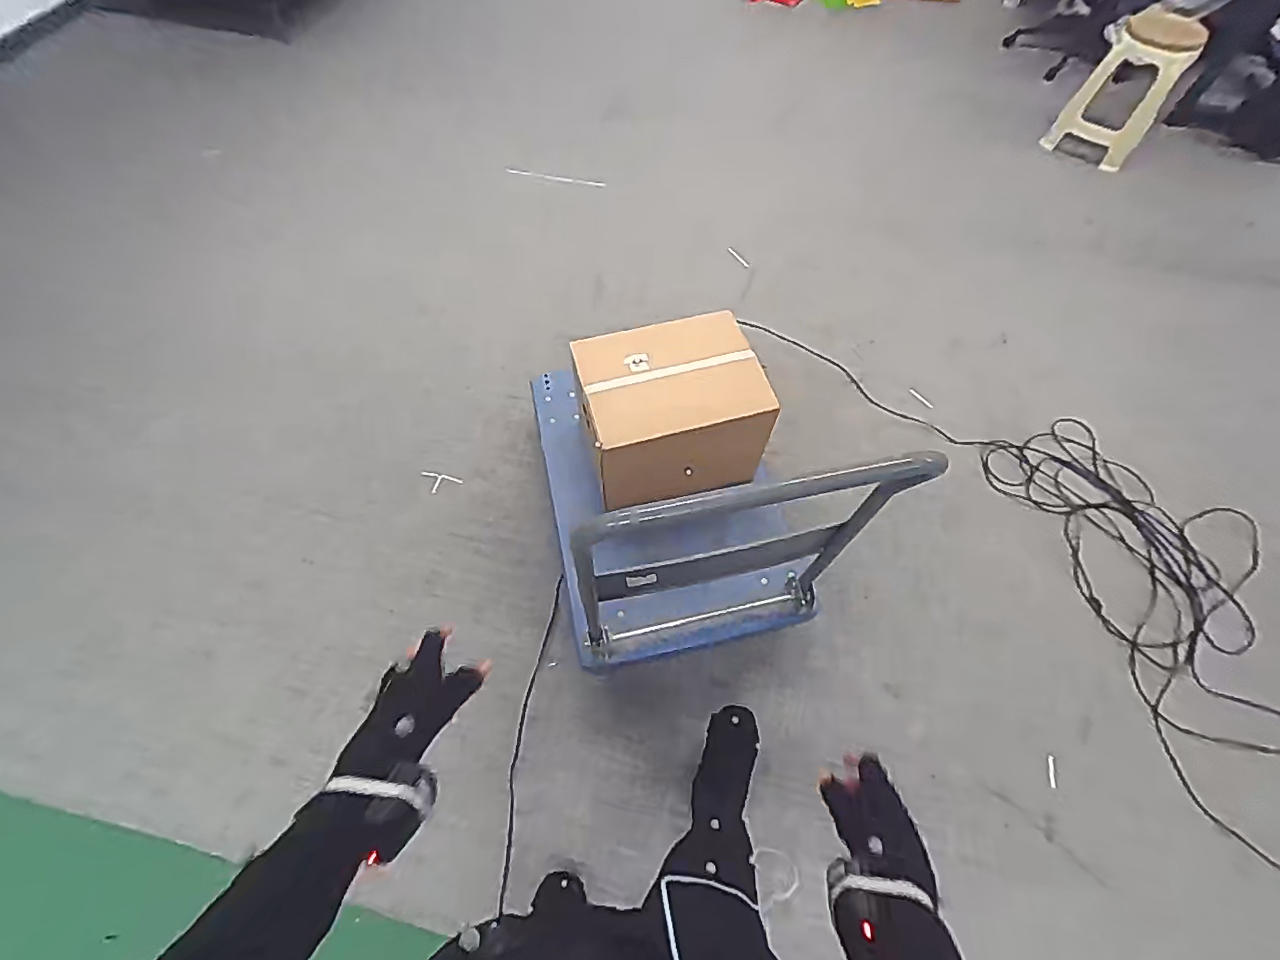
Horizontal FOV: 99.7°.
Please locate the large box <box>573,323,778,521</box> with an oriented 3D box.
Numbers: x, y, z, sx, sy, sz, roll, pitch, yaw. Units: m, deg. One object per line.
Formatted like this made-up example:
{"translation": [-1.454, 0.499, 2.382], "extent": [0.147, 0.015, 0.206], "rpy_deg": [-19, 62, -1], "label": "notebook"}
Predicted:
{"translation": [0.073, -0.137, 1.358], "extent": [0.408, 0.320, 0.320], "rpy_deg": [-15, 60, -9], "label": "large box"}
